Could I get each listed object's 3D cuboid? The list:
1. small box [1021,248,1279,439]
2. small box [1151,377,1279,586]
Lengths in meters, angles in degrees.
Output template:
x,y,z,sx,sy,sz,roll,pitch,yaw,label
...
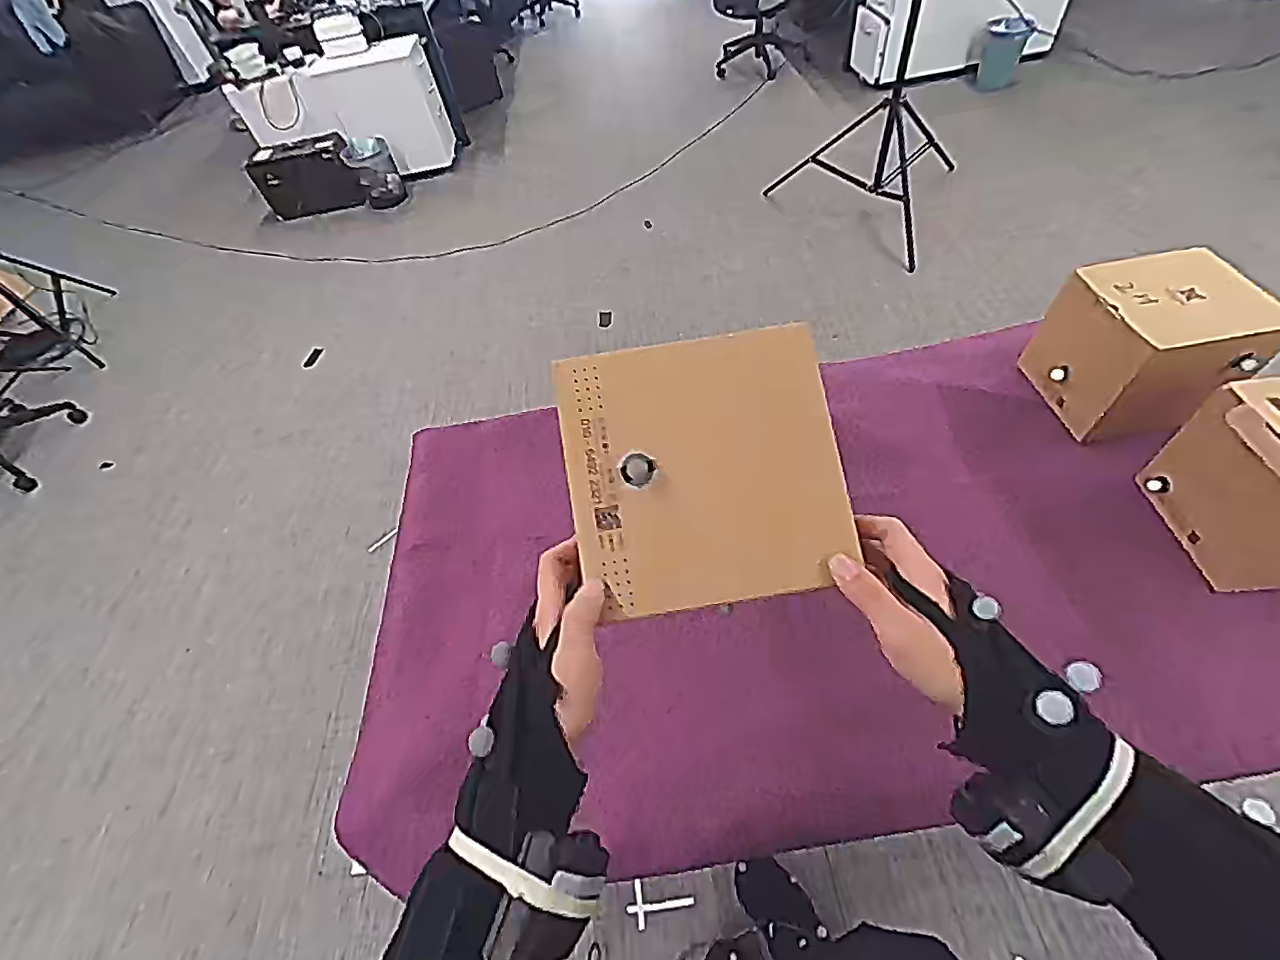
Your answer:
x,y,z,sx,sy,sz,roll,pitch,yaw,label
0.669,-0.177,0.725,0.179,0.176,0.168,-10,53,2,small box
0.715,0.003,0.581,0.179,0.176,0.168,-5,51,6,small box
